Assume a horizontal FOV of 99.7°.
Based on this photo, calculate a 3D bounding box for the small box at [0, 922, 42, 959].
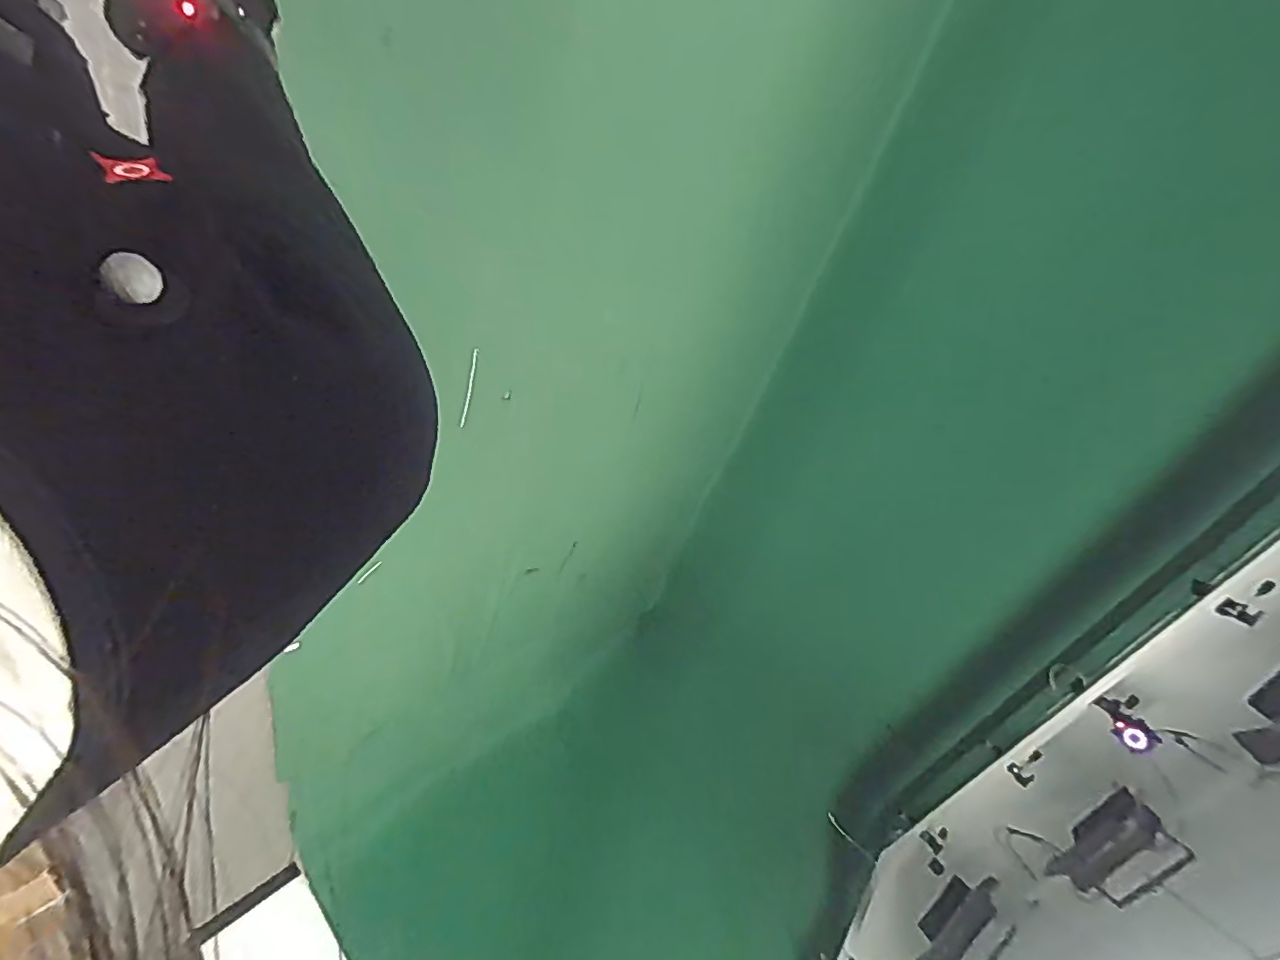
[{"bbox_3d":[-1.619,1.276,1.347,0.179,0.176,0.168,-15,132,-52],"label":"small box"}]
